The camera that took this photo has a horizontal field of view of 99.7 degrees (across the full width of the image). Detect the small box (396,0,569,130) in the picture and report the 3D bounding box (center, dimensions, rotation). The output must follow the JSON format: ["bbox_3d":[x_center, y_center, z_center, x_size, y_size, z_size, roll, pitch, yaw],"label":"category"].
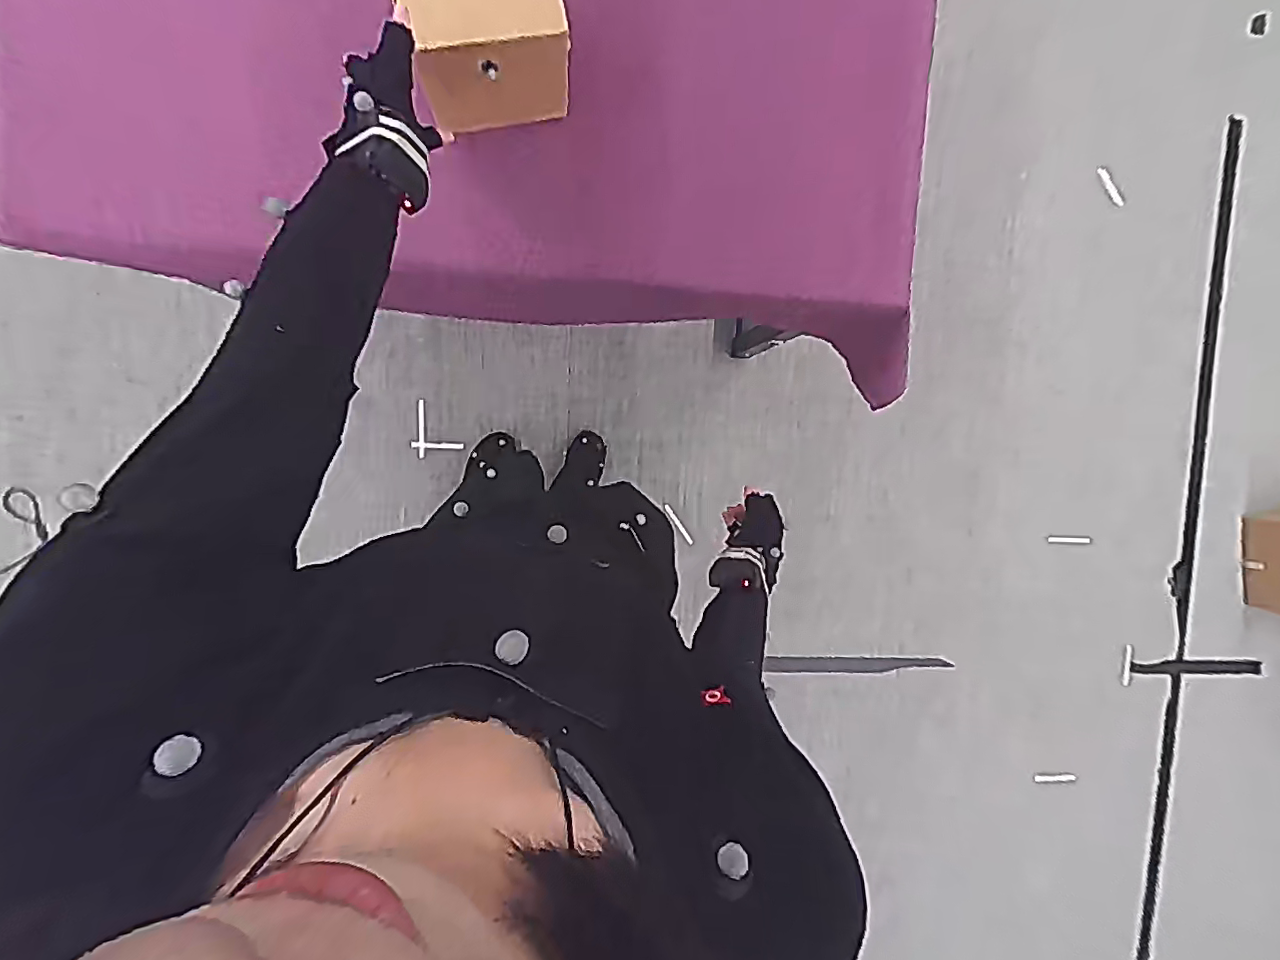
[{"bbox_3d":[-0.185,-0.553,0.647,0.179,0.176,0.168,-13,97,-7],"label":"small box"}]
